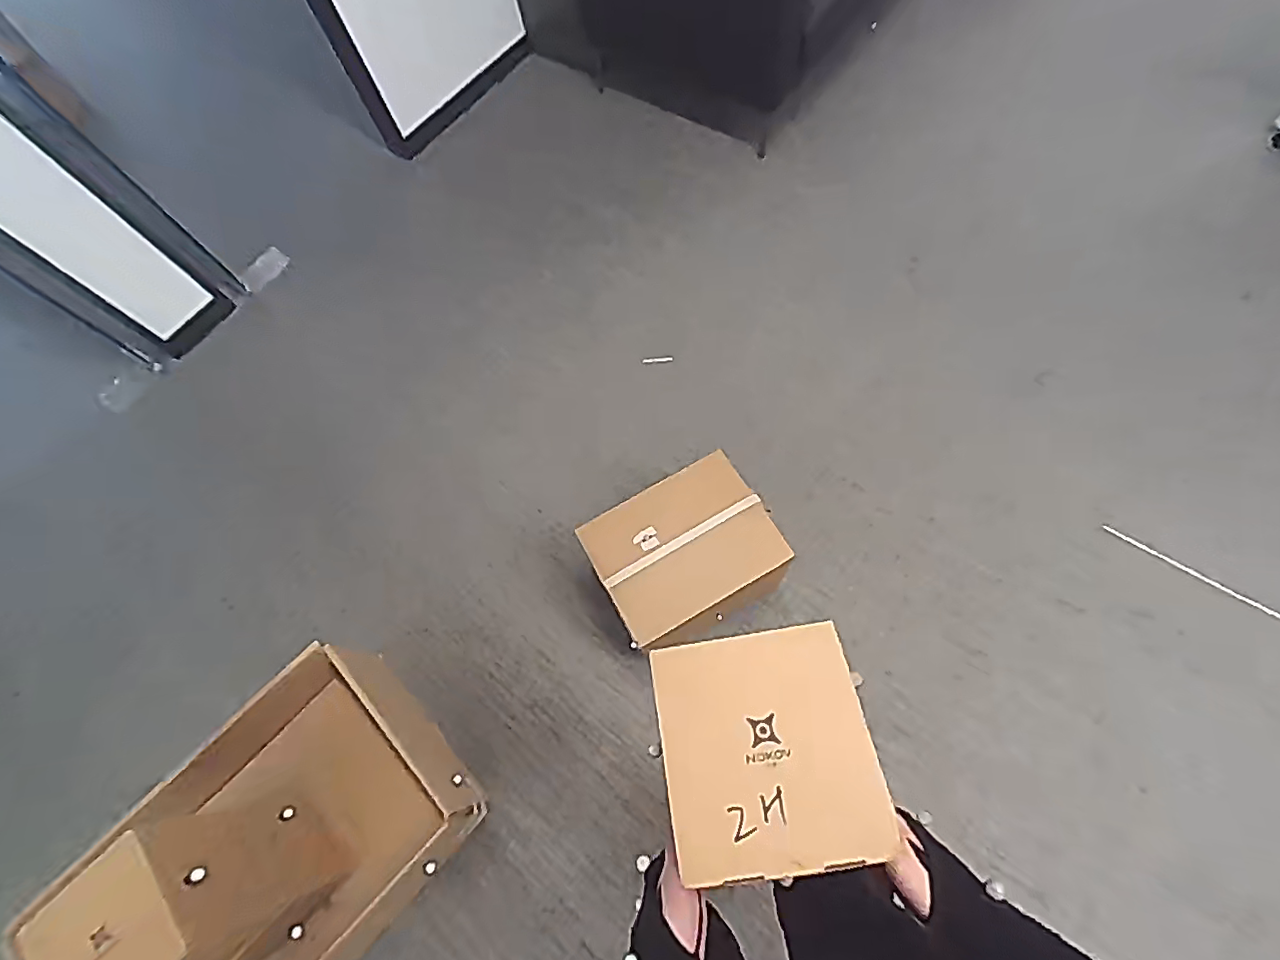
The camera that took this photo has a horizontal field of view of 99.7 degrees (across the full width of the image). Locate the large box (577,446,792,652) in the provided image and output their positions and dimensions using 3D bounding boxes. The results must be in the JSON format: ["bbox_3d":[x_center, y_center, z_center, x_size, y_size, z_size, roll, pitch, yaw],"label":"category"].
[{"bbox_3d":[0.111,0.186,1.360,0.408,0.320,0.320,-30,68,-6],"label":"large box"}]

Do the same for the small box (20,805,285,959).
[{"bbox_3d":[-0.633,0.569,0.722,0.168,0.176,0.179,-44,71,-11],"label":"small box"}]

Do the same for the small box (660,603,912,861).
[{"bbox_3d":[0.116,0.234,0.503,0.168,0.176,0.179,-10,59,3],"label":"small box"}]
